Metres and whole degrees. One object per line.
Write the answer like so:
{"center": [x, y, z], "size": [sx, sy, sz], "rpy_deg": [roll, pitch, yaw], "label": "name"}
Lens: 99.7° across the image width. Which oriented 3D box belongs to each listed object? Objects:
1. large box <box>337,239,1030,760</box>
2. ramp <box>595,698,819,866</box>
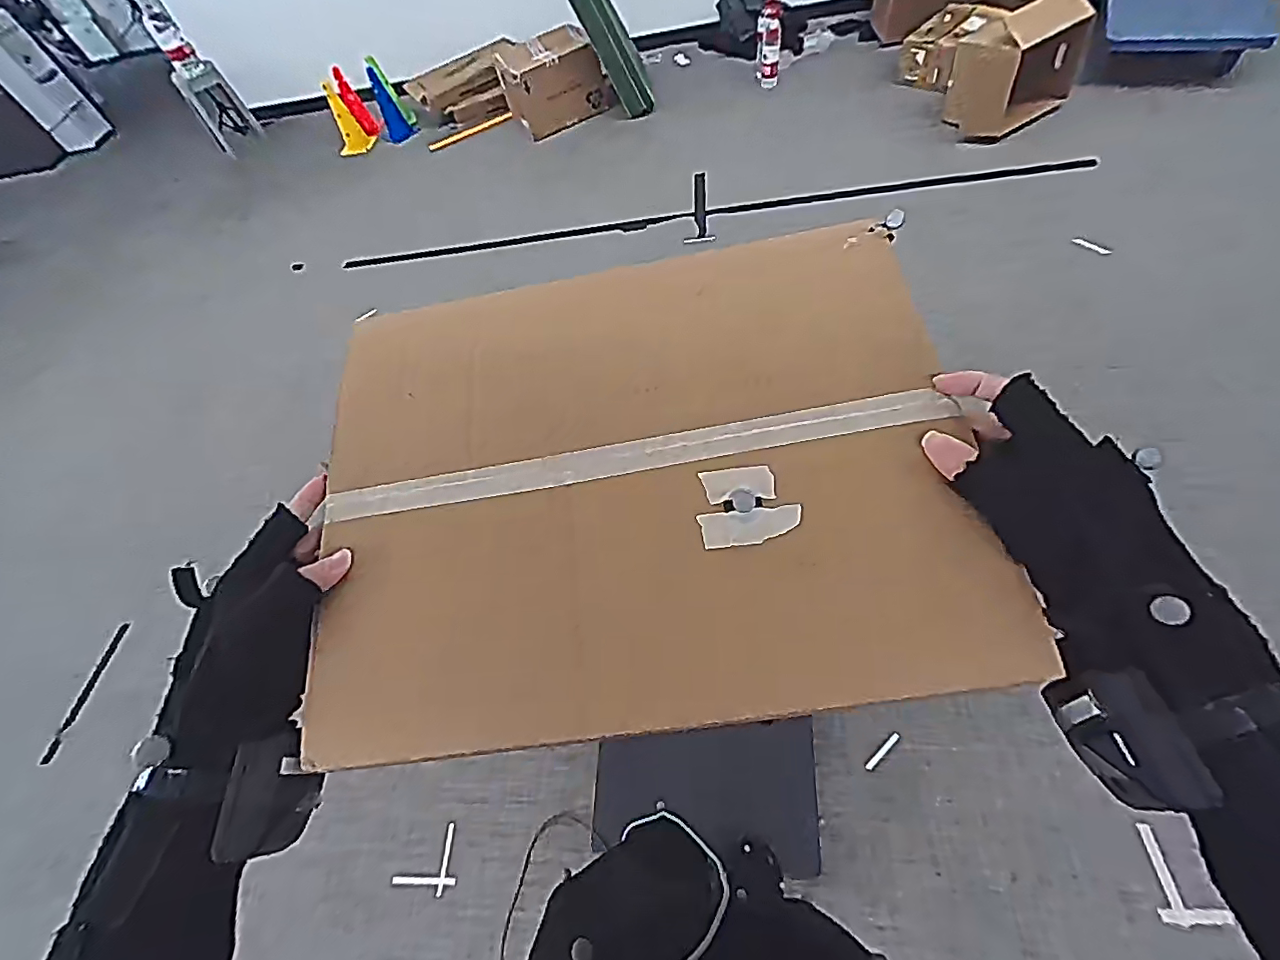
{"center": [0.015, 0.046, 0.496], "size": [0.408, 0.320, 0.320], "rpy_deg": [-9, 68, 4], "label": "large box"}
{"center": [0.163, 0.348, 1.348], "size": [0.509, 0.206, 0.991], "rpy_deg": [-2, 58, 9], "label": "ramp"}
